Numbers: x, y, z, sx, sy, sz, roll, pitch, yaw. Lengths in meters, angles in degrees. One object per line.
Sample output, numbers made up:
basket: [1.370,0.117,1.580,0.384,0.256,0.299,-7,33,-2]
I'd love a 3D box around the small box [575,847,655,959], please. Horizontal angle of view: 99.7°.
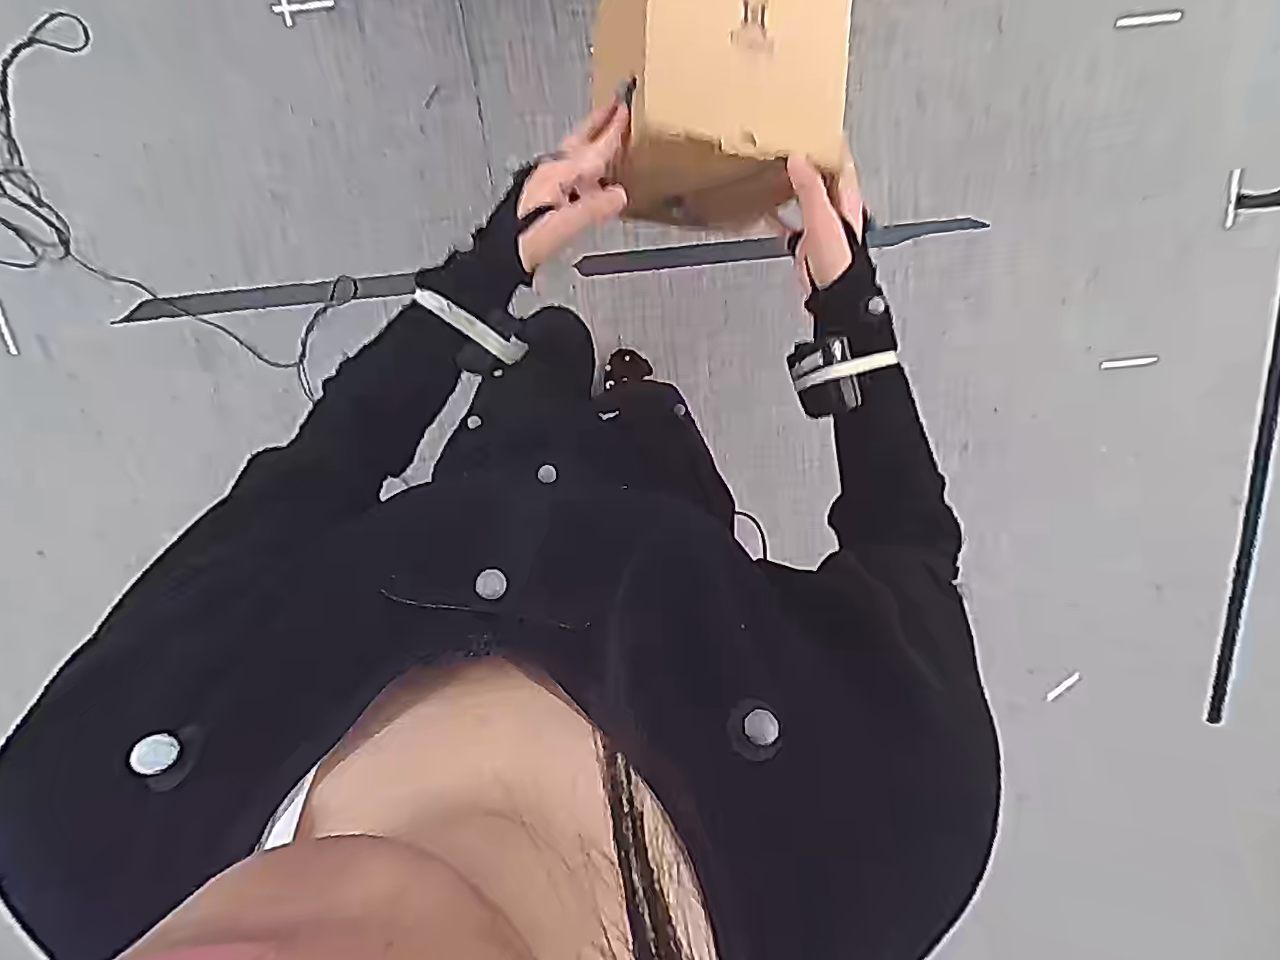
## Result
small box: [-0.062,1.076,1.378,0.179,0.176,0.168,-8,102,1]
